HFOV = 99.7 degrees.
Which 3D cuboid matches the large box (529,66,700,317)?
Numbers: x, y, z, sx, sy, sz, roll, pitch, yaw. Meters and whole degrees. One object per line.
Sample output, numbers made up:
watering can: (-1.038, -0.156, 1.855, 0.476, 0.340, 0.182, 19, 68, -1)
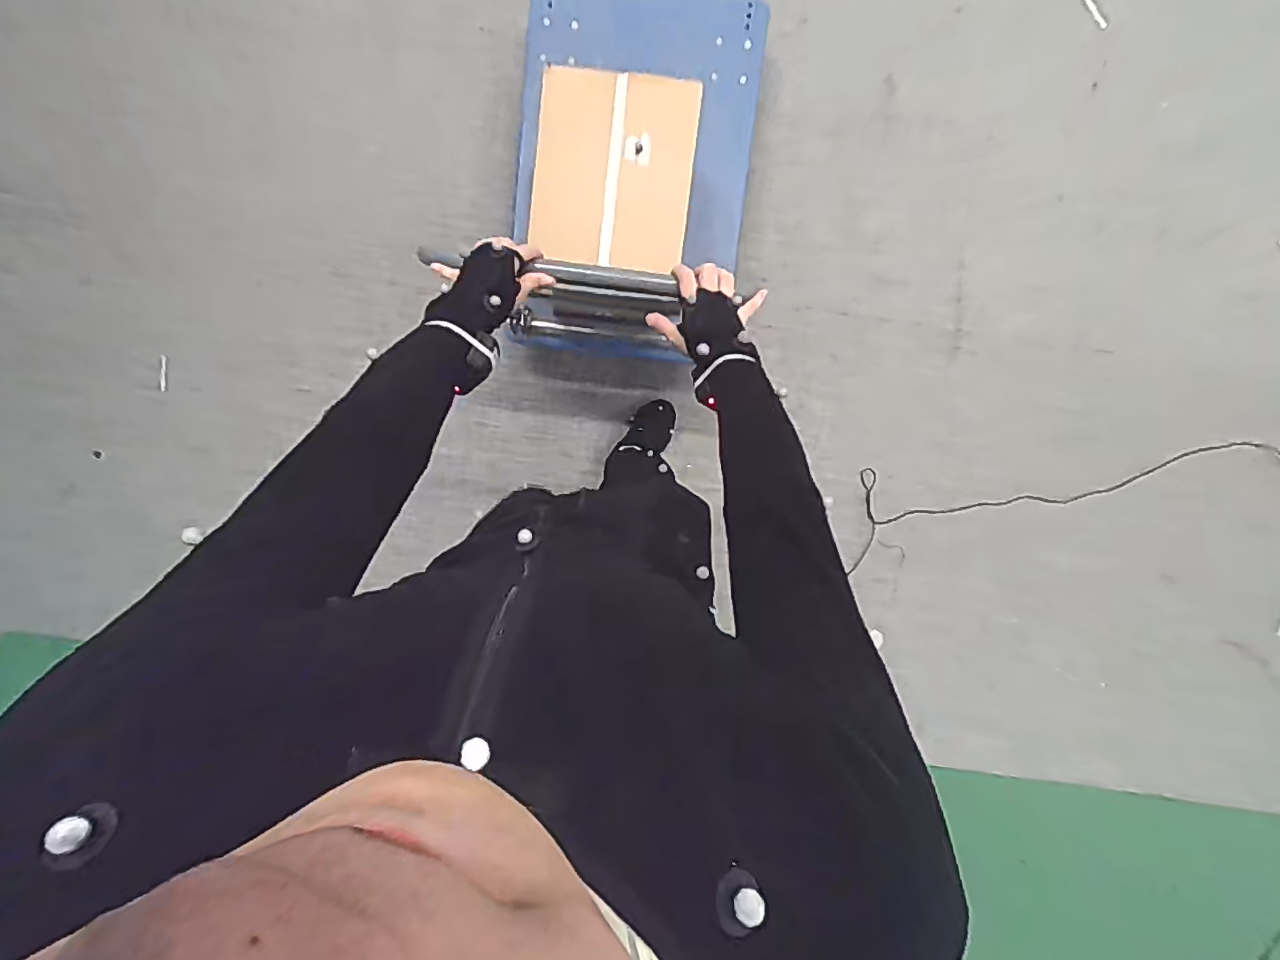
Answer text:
large box: (-0.050, -0.609, 1.218, 0.320, 0.320, 0.408, 6, 96, -1)
